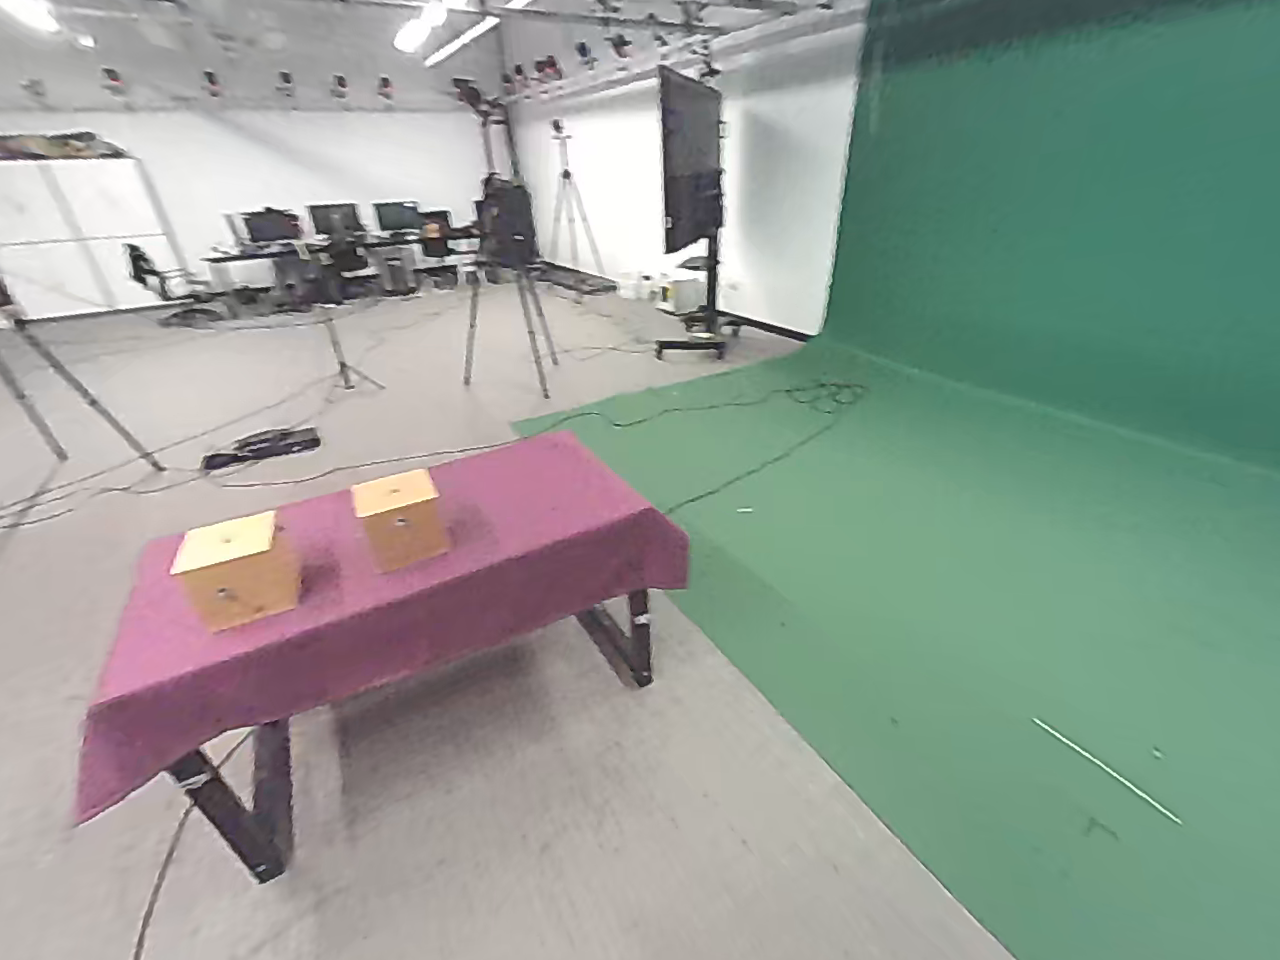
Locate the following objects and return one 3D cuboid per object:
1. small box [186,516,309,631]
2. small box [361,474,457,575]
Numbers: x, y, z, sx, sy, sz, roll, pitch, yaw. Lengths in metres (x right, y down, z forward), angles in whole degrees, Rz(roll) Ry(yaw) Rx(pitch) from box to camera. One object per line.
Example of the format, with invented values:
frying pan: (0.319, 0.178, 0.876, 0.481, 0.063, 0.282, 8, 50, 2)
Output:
small box: (-0.856, 0.210, 1.200, 0.168, 0.176, 0.179, -16, 31, -21)
small box: (-0.572, 0.110, 1.344, 0.179, 0.176, 0.168, -17, 33, -23)
